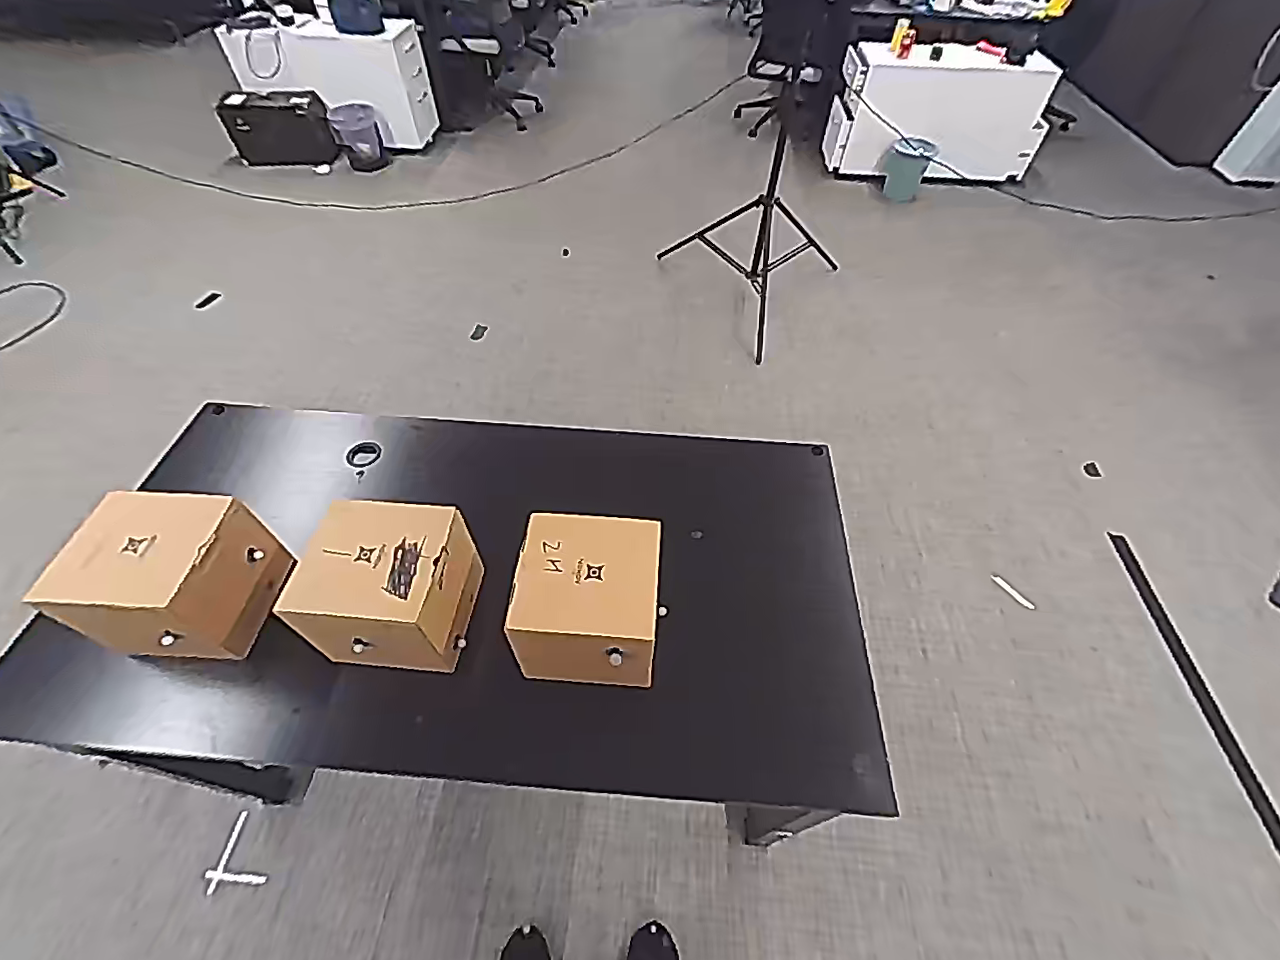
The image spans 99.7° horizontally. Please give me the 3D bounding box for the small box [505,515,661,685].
[{"bbox_3d":[-0.066,0.167,0.732,0.179,0.176,0.168,3,51,2],"label":"small box"}]

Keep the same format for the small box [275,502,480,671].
[{"bbox_3d":[-0.336,0.150,0.740,0.179,0.176,0.168,4,51,3],"label":"small box"}]

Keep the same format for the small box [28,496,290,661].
[{"bbox_3d":[-0.631,0.139,0.744,0.179,0.176,0.168,1,51,0],"label":"small box"}]
